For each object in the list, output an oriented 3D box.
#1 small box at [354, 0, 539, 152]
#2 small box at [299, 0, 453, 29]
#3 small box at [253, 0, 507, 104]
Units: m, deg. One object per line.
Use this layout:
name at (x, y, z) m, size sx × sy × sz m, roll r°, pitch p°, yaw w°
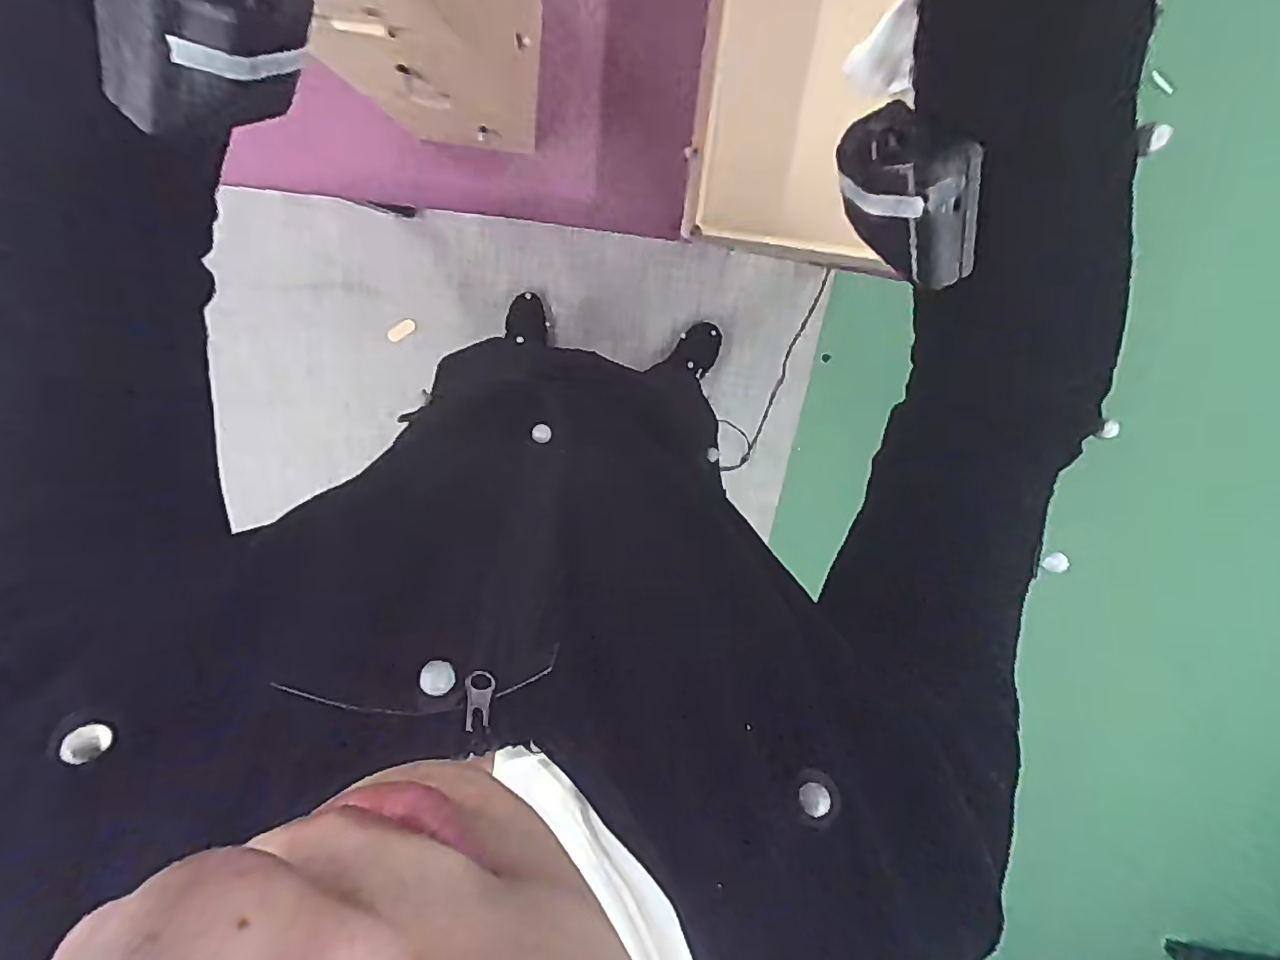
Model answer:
small box at (-0.220, -0.516, 0.643) m, size 0.168 × 0.176 × 0.179 m, roll 7°, pitch 106°, yaw -3°
small box at (-0.215, -0.423, 0.328) m, size 0.168 × 0.176 × 0.179 m, roll 8°, pitch 106°, yaw -4°
small box at (-0.219, -0.471, 0.486) m, size 0.168 × 0.176 × 0.179 m, roll 6°, pitch 107°, yaw -3°
